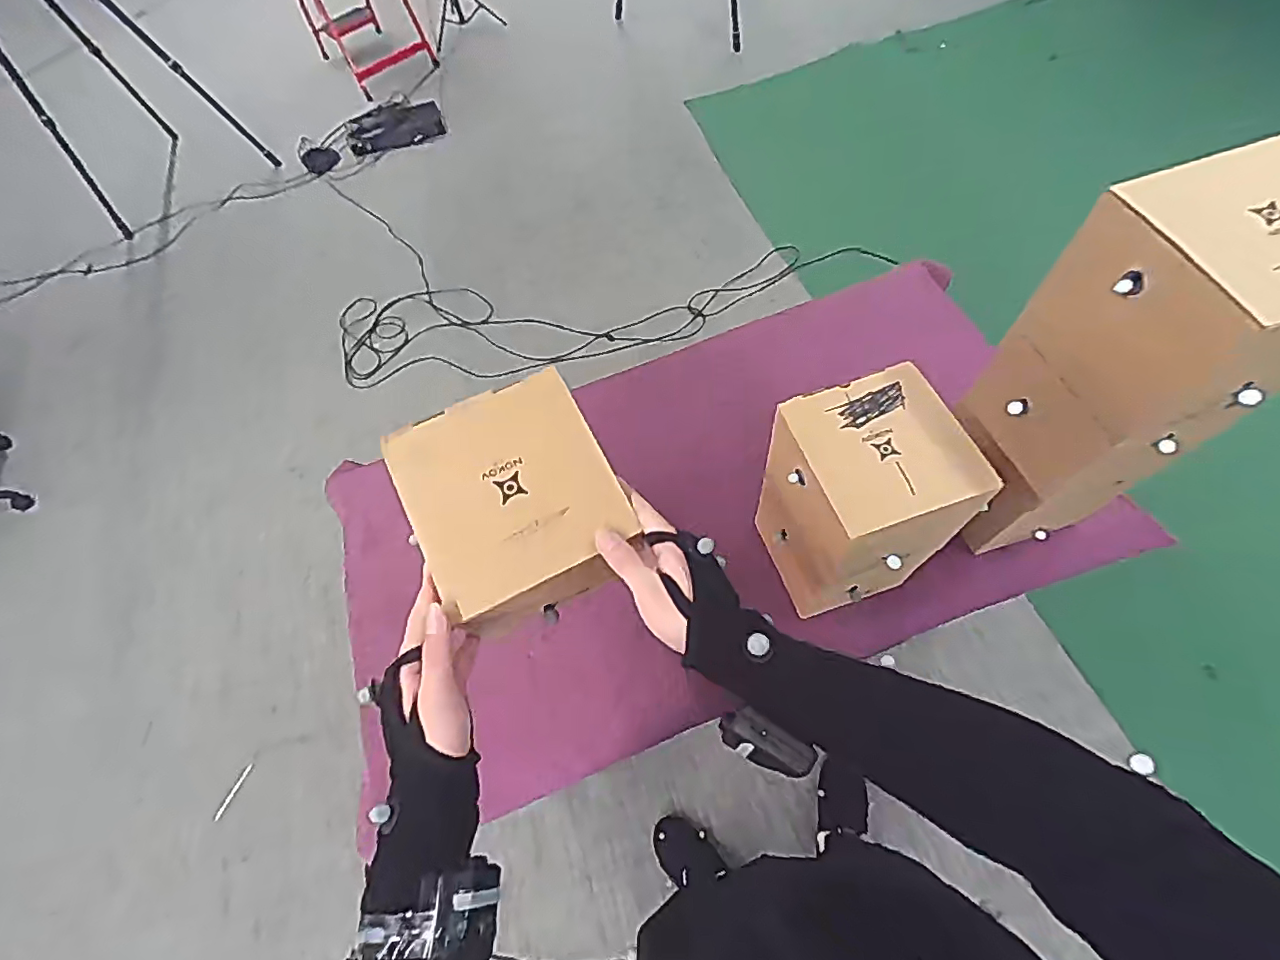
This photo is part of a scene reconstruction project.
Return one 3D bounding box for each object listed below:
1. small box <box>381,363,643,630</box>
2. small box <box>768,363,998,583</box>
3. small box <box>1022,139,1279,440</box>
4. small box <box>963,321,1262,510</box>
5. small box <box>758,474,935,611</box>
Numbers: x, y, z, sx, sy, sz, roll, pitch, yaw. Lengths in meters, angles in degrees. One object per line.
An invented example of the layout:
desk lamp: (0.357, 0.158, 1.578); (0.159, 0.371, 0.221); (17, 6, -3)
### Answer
small box: (-0.112, 0.026, 0.517); (0.168, 0.176, 0.179); (-25, 74, -12)
small box: (0.262, -0.001, 0.640); (0.168, 0.176, 0.179); (-19, 62, -1)
small box: (0.510, -0.166, 0.501); (0.168, 0.176, 0.179); (-17, 62, 0)
small box: (0.530, -0.090, 0.645); (0.168, 0.176, 0.179); (-17, 61, 0)
small box: (0.281, 0.076, 0.783); (0.168, 0.176, 0.179); (-19, 61, -2)
